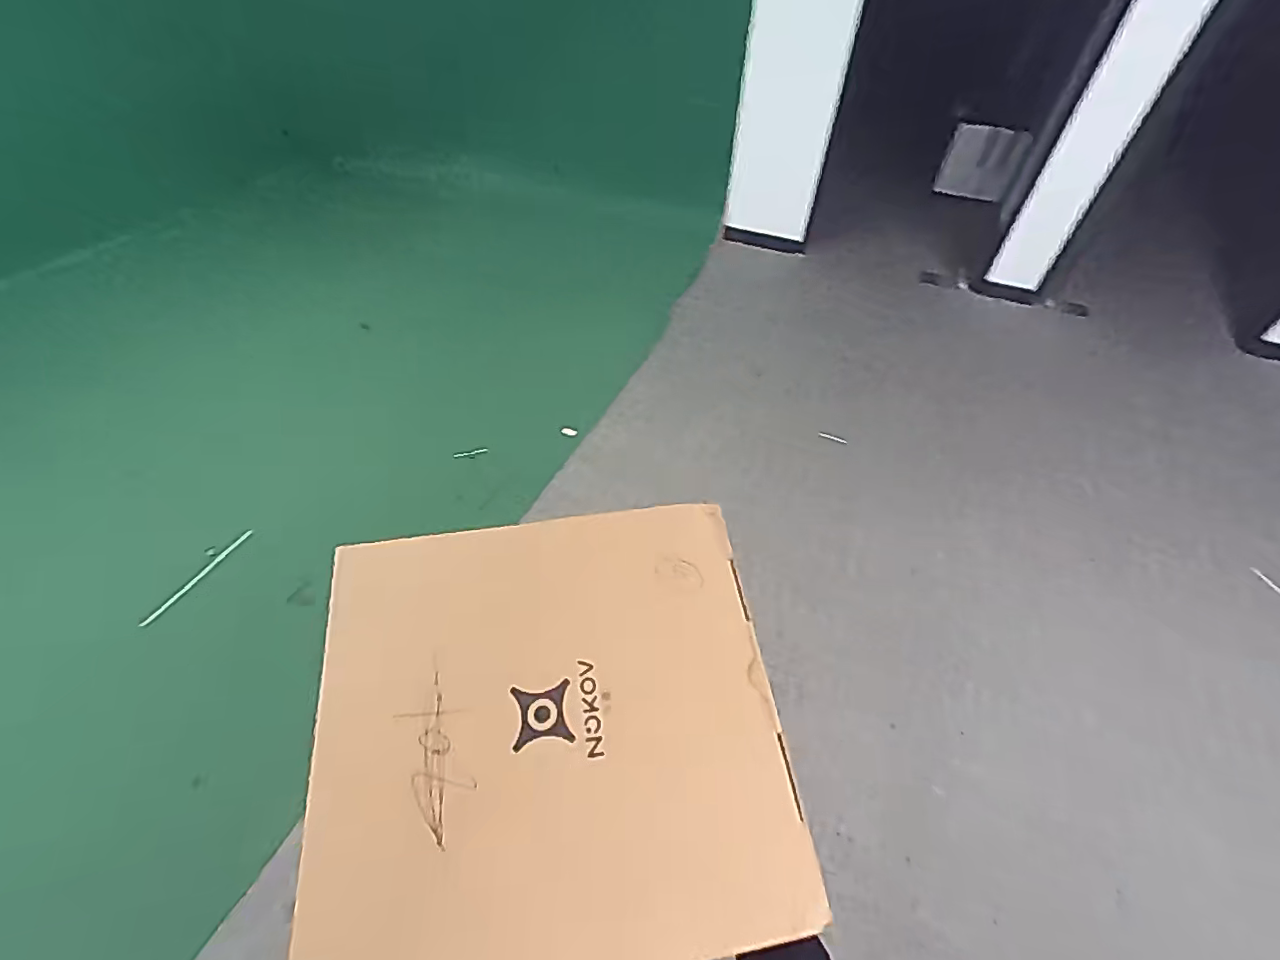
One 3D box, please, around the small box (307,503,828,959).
[{"bbox_3d":[-0.034,0.128,0.284,0.179,0.176,0.168,-6,60,-6],"label":"small box"}]
